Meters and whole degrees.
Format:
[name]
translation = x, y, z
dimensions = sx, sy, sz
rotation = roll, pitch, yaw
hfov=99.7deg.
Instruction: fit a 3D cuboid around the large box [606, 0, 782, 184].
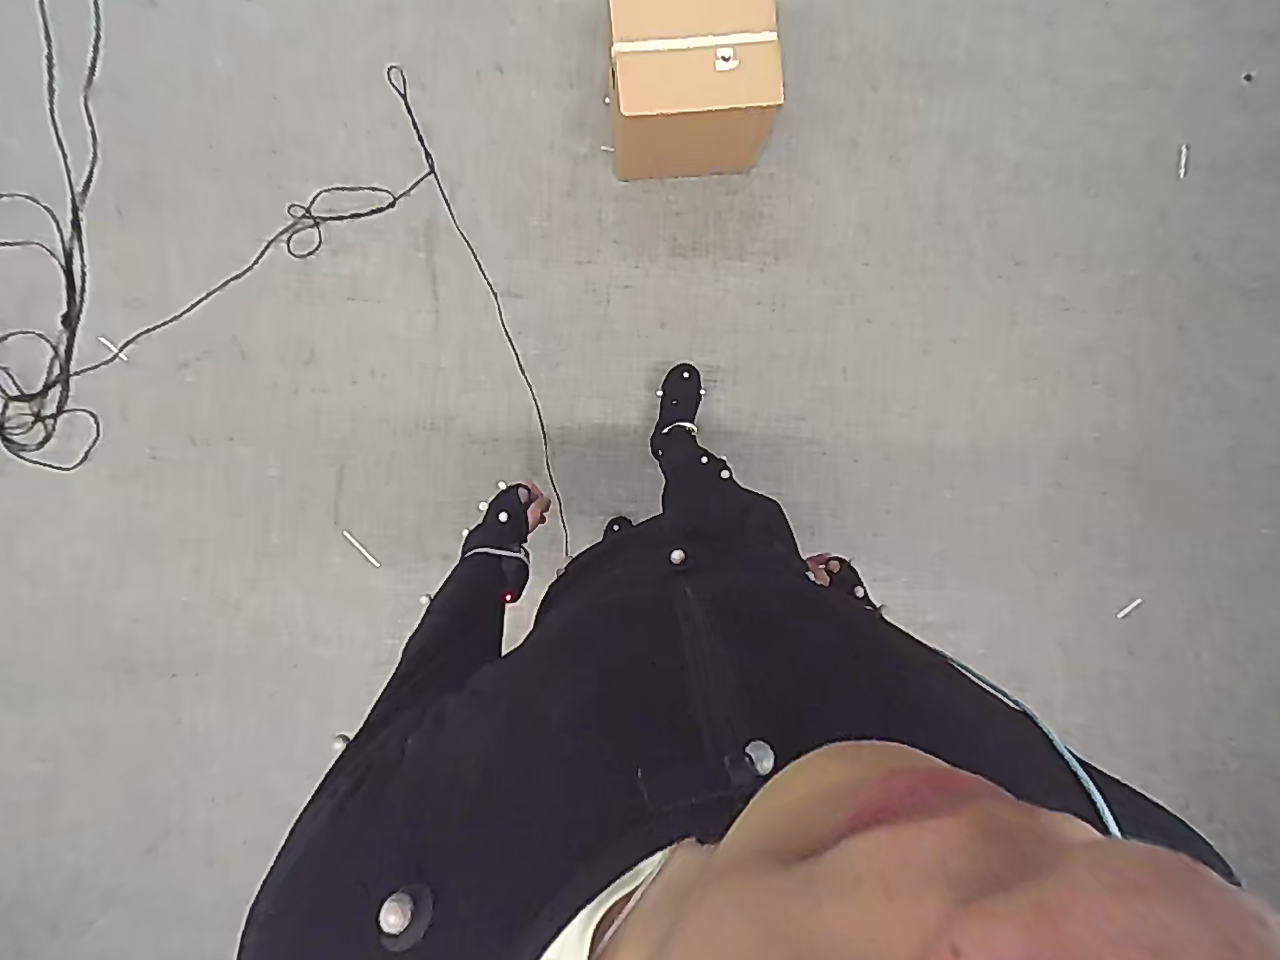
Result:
[large box]
translation = 0.125, -1.044, 1.458
dimensions = 0.408, 0.320, 0.320
rotation = -6, 92, -4
